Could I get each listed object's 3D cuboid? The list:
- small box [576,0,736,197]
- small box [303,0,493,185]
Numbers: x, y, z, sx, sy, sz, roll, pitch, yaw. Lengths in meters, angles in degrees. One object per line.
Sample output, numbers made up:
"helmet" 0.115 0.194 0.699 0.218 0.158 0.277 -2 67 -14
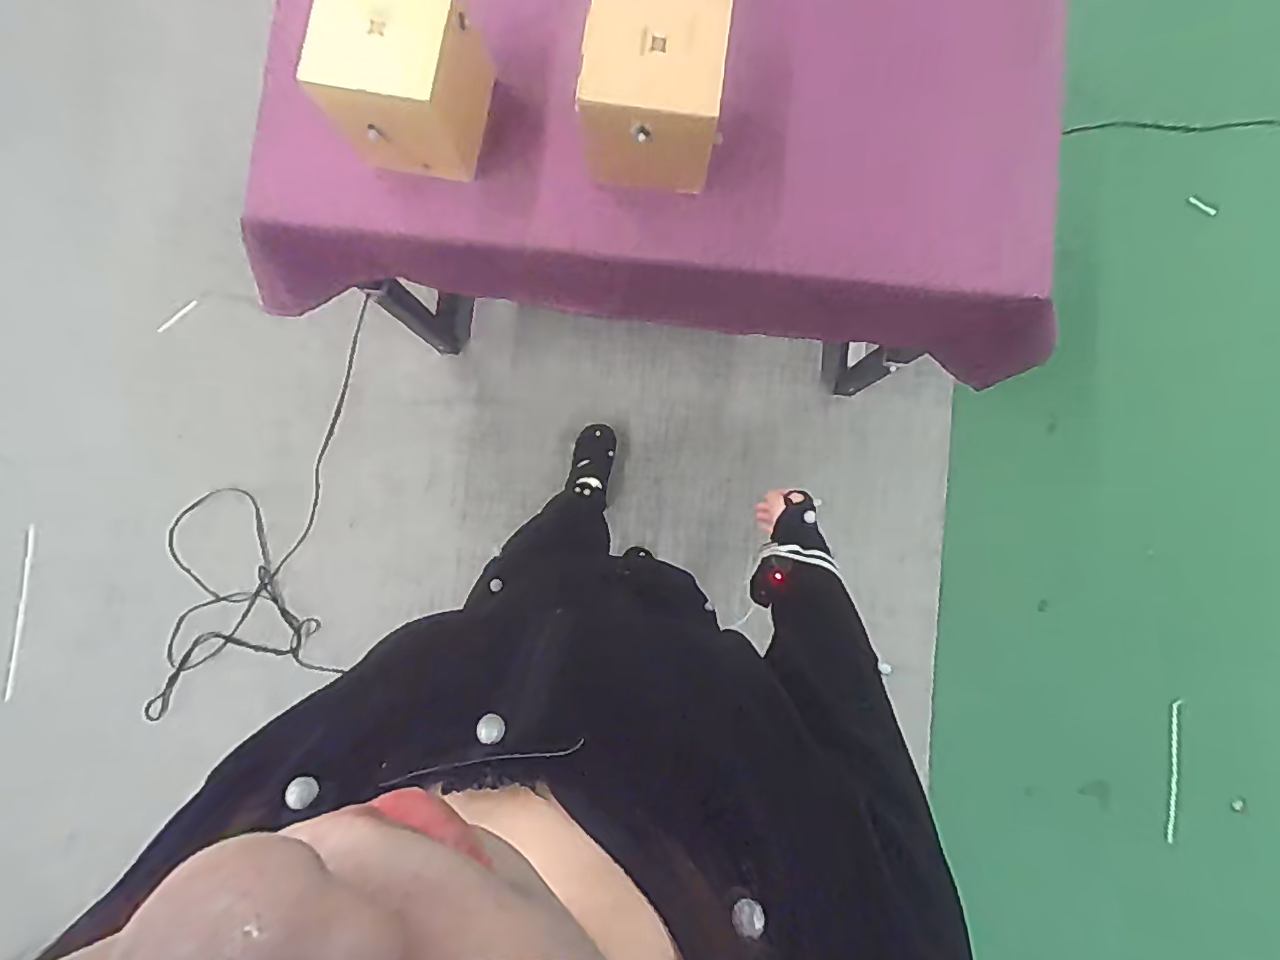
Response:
"small box" 0.020 -0.513 0.733 0.179 0.176 0.168 8 87 1
"small box" -0.313 -0.540 0.738 0.168 0.176 0.179 10 85 1
